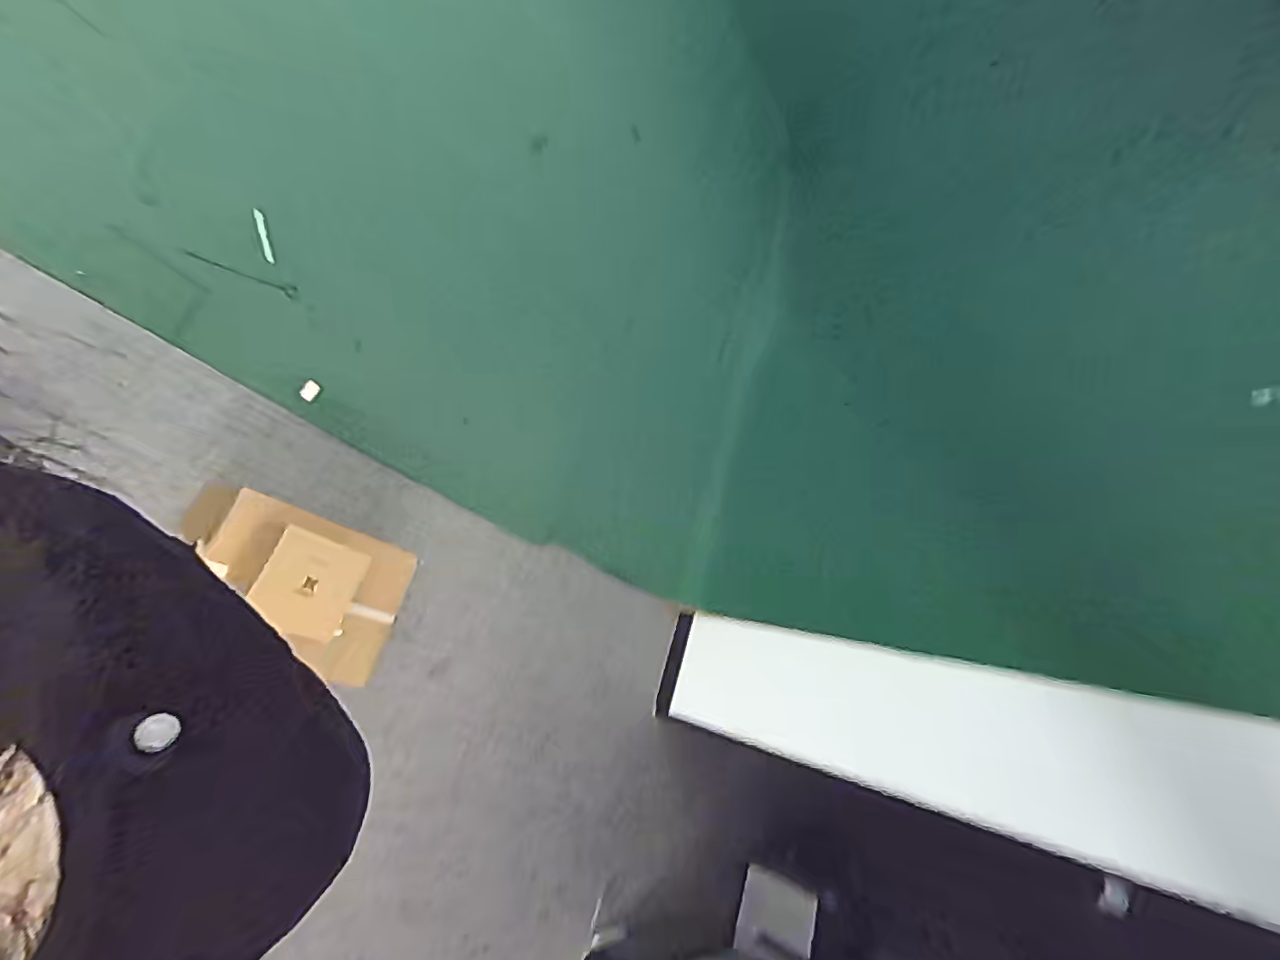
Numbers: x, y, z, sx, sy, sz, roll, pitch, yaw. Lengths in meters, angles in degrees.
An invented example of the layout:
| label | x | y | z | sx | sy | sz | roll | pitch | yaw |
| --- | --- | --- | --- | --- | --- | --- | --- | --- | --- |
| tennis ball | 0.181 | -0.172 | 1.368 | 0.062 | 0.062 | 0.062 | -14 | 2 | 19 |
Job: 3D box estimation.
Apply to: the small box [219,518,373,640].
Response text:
| label | x | y | z | sx | sy | sz | roll | pitch | yaw |
| --- | --- | --- | --- | --- | --- | --- | --- | --- | --- |
| small box | -0.656 | 0.184 | 1.027 | 0.168 | 0.176 | 0.179 | 41 | 58 | -43 |

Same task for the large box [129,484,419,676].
| label | x | y | z | sx | sy | sz | roll | pitch | yaw |
| --- | --- | --- | --- | --- | --- | --- | --- | --- | --- |
| large box | -0.809 | 0.225 | 1.228 | 0.408 | 0.320 | 0.320 | 38 | 62 | -44 |
